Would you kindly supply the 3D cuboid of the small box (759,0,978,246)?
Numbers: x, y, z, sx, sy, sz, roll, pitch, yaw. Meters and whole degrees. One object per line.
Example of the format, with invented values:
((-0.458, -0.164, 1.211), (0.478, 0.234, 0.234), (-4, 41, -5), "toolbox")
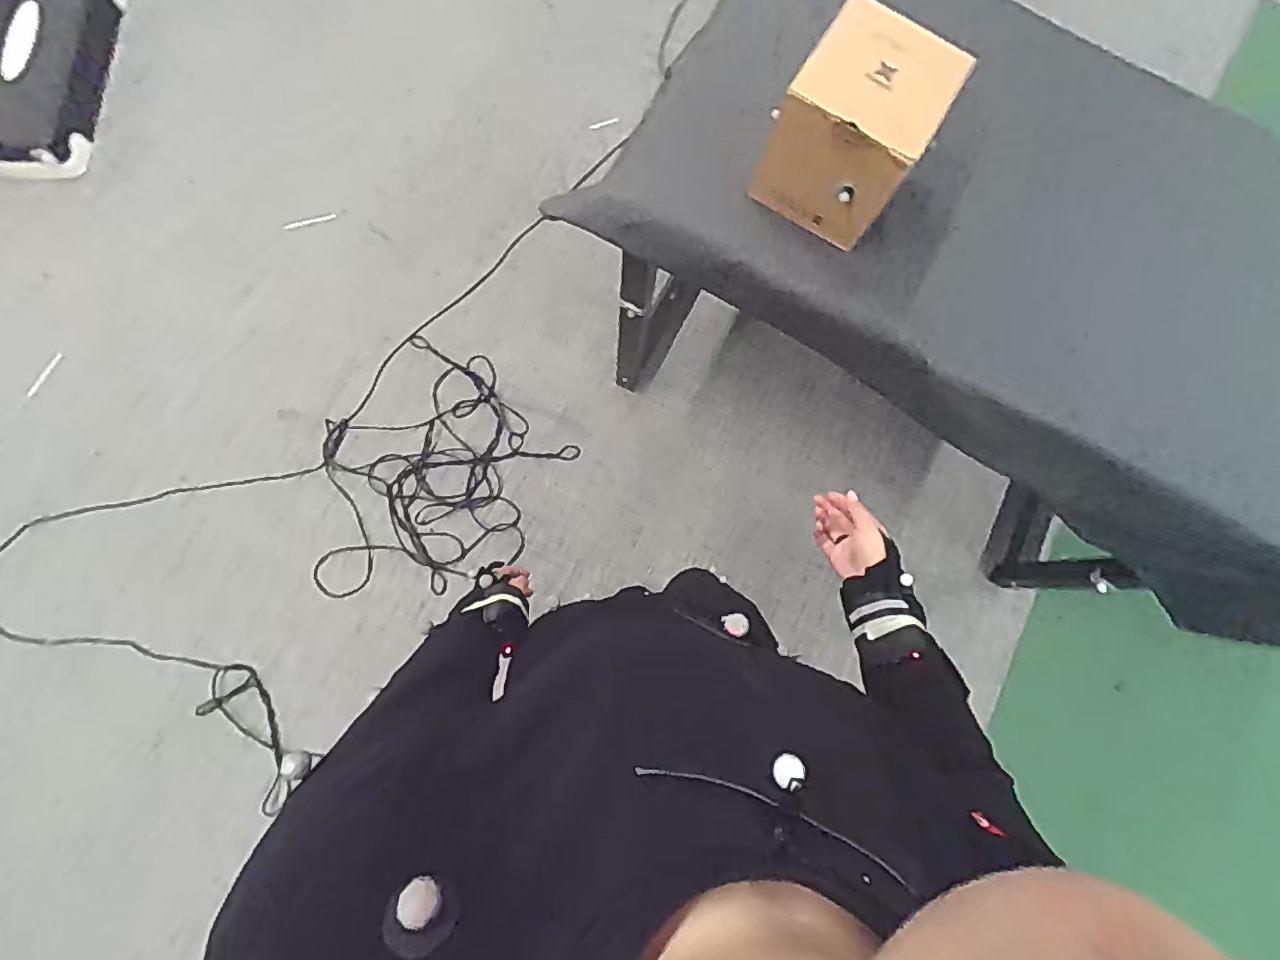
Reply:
((0.270, -0.439, 0.683), (0.168, 0.176, 0.179), (31, 77, 1), "small box")
